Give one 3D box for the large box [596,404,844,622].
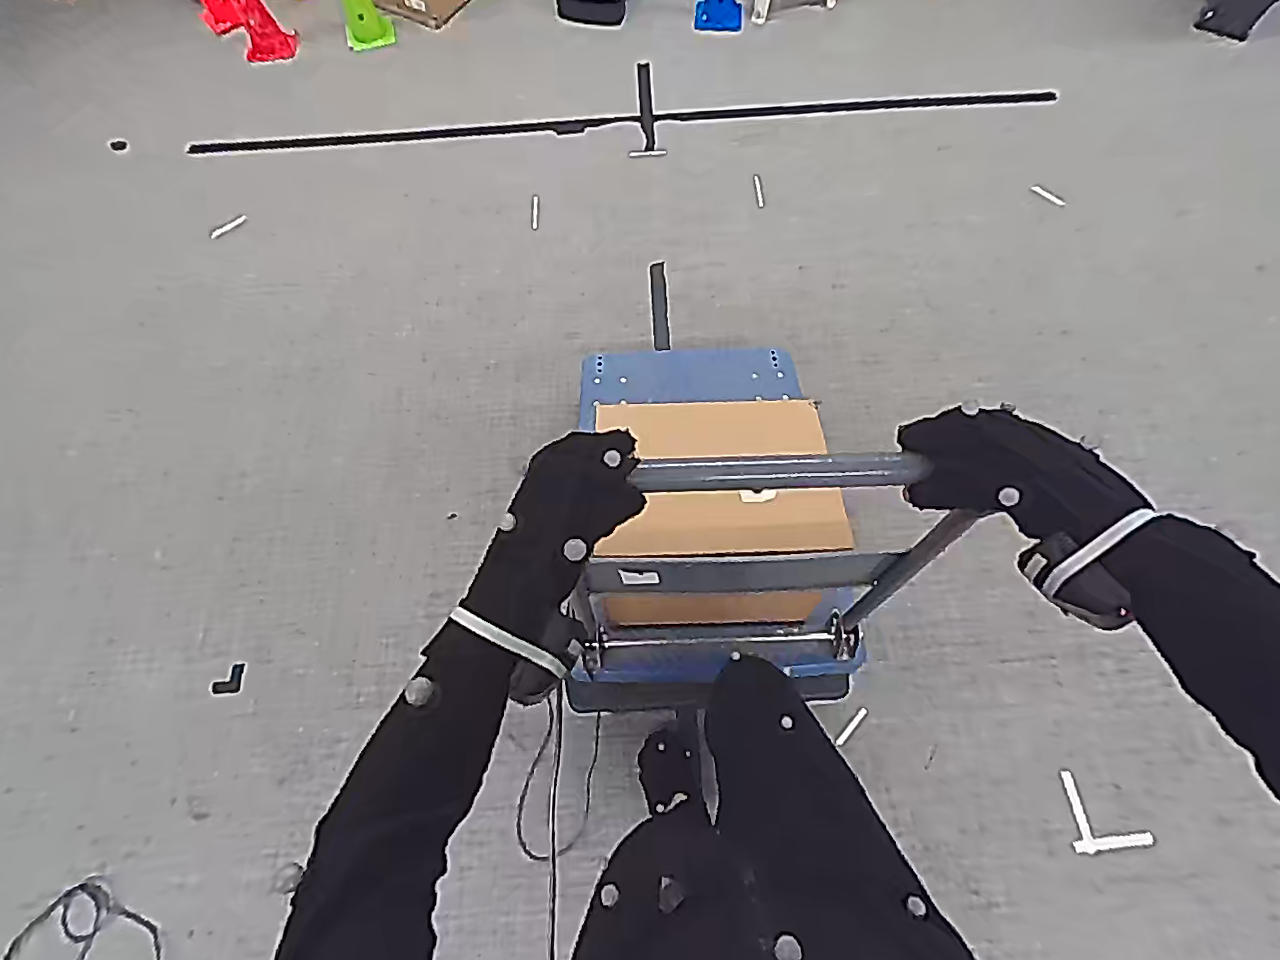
[{"bbox_3d":[0.122,0.072,1.060,0.408,0.320,0.320,-1,56,-1],"label":"large box"}]
